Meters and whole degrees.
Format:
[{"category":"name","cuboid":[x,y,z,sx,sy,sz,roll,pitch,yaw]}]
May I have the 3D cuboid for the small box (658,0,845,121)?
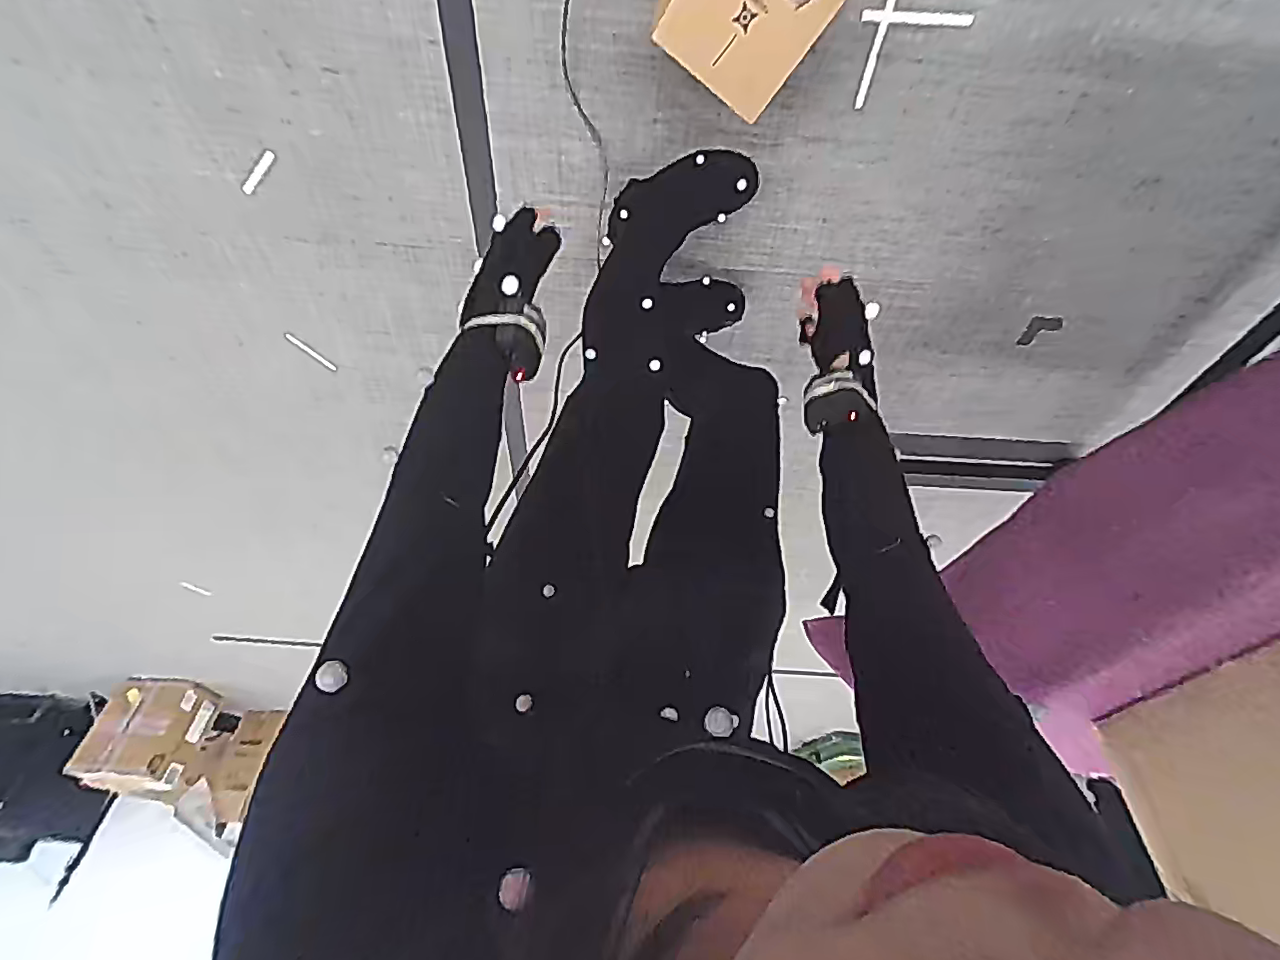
[{"category":"small box","cuboid":[0.135,-0.608,0.672,0.168,0.176,0.179,25,136,-24]}]
